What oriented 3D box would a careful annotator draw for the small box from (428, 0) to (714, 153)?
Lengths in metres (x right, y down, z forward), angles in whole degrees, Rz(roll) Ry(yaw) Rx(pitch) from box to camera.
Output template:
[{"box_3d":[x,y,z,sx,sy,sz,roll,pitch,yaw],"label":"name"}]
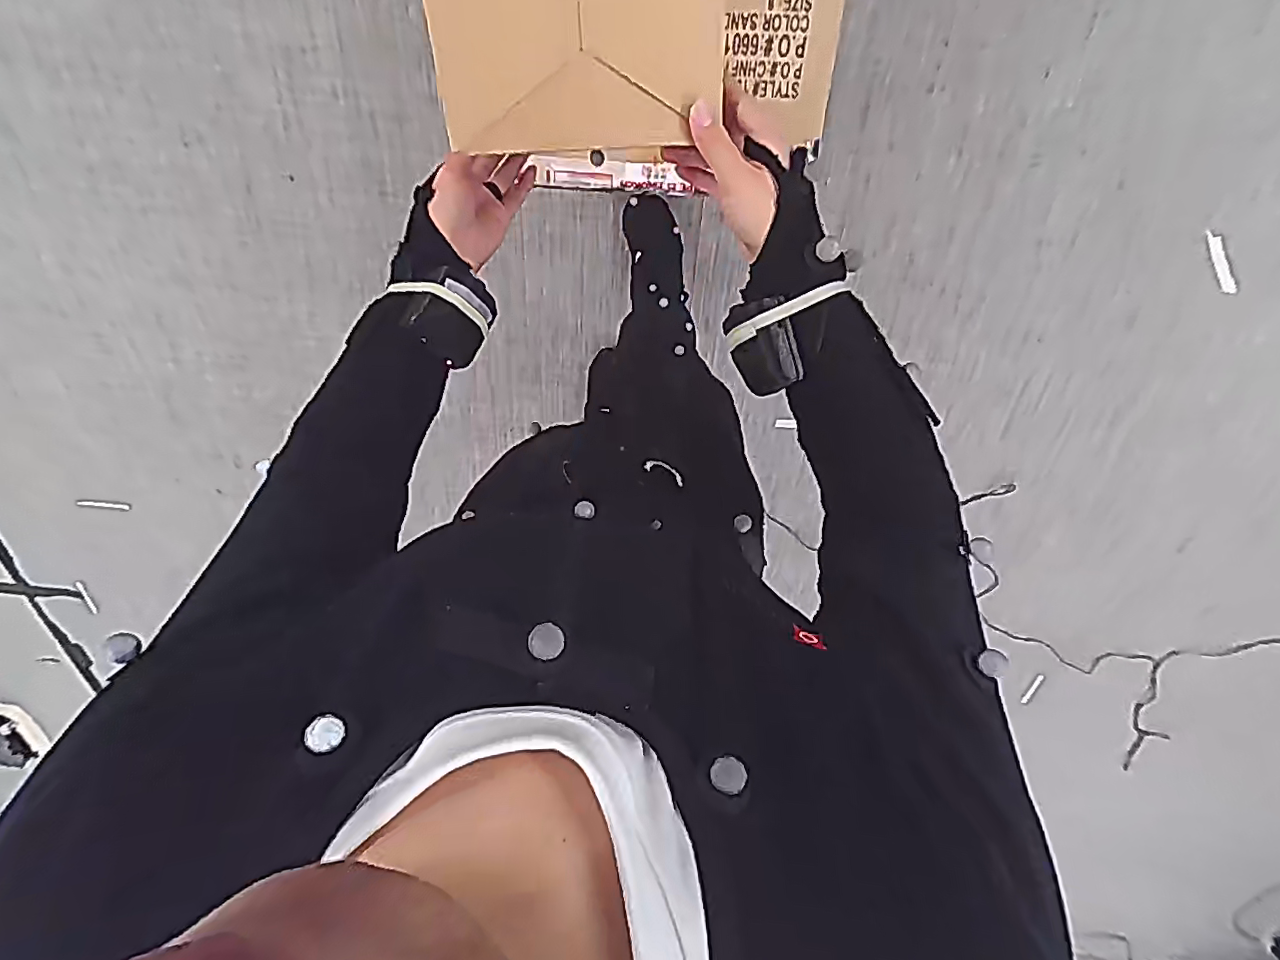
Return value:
[{"box_3d":[-0.047,-0.332,0.382,0.179,0.176,0.168,-6,122,-6],"label":"small box"}]
